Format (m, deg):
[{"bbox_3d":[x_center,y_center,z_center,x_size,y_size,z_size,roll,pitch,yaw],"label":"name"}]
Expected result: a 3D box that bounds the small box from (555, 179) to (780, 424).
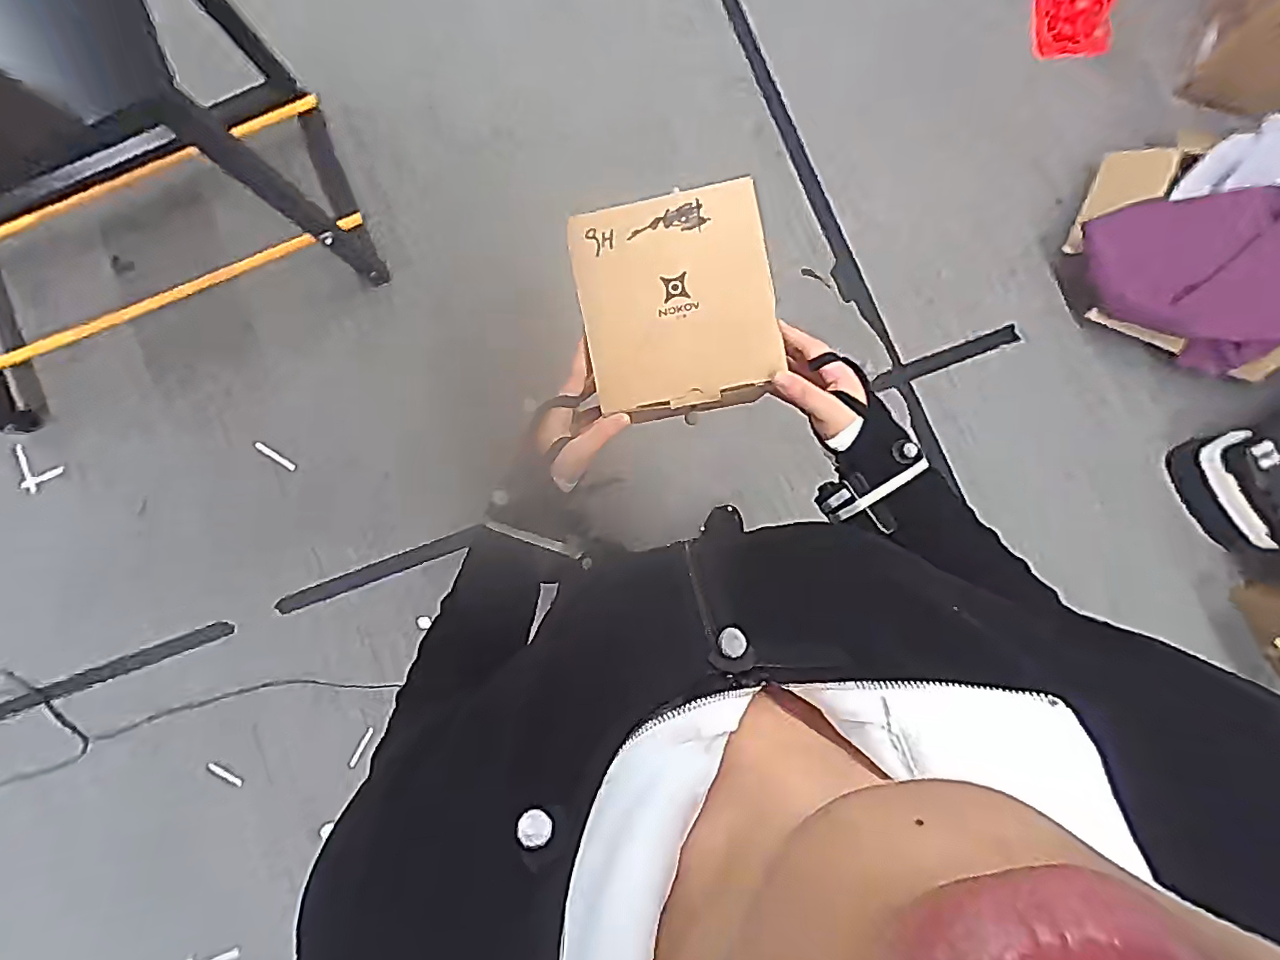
[{"bbox_3d":[0.028,-0.155,0.535,0.168,0.176,0.179,-12,93,3],"label":"small box"}]
